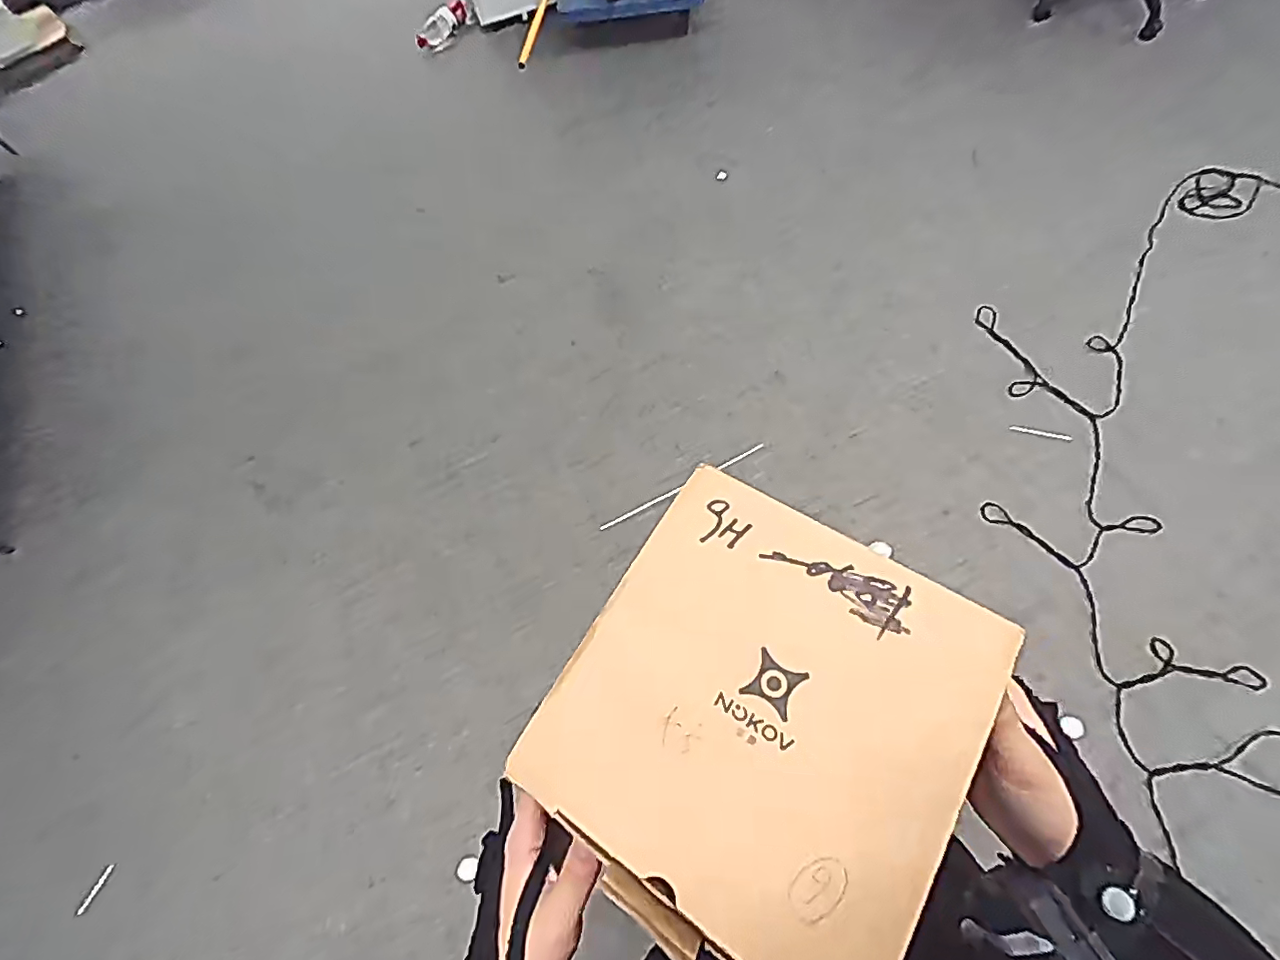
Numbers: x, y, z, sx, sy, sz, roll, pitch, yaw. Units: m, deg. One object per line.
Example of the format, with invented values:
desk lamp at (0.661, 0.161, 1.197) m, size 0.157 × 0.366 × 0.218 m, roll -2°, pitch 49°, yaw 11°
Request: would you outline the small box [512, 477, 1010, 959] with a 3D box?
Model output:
small box at (0.063, 0.134, 0.316) m, size 0.168 × 0.176 × 0.179 m, roll 29°, pitch 74°, yaw 18°
